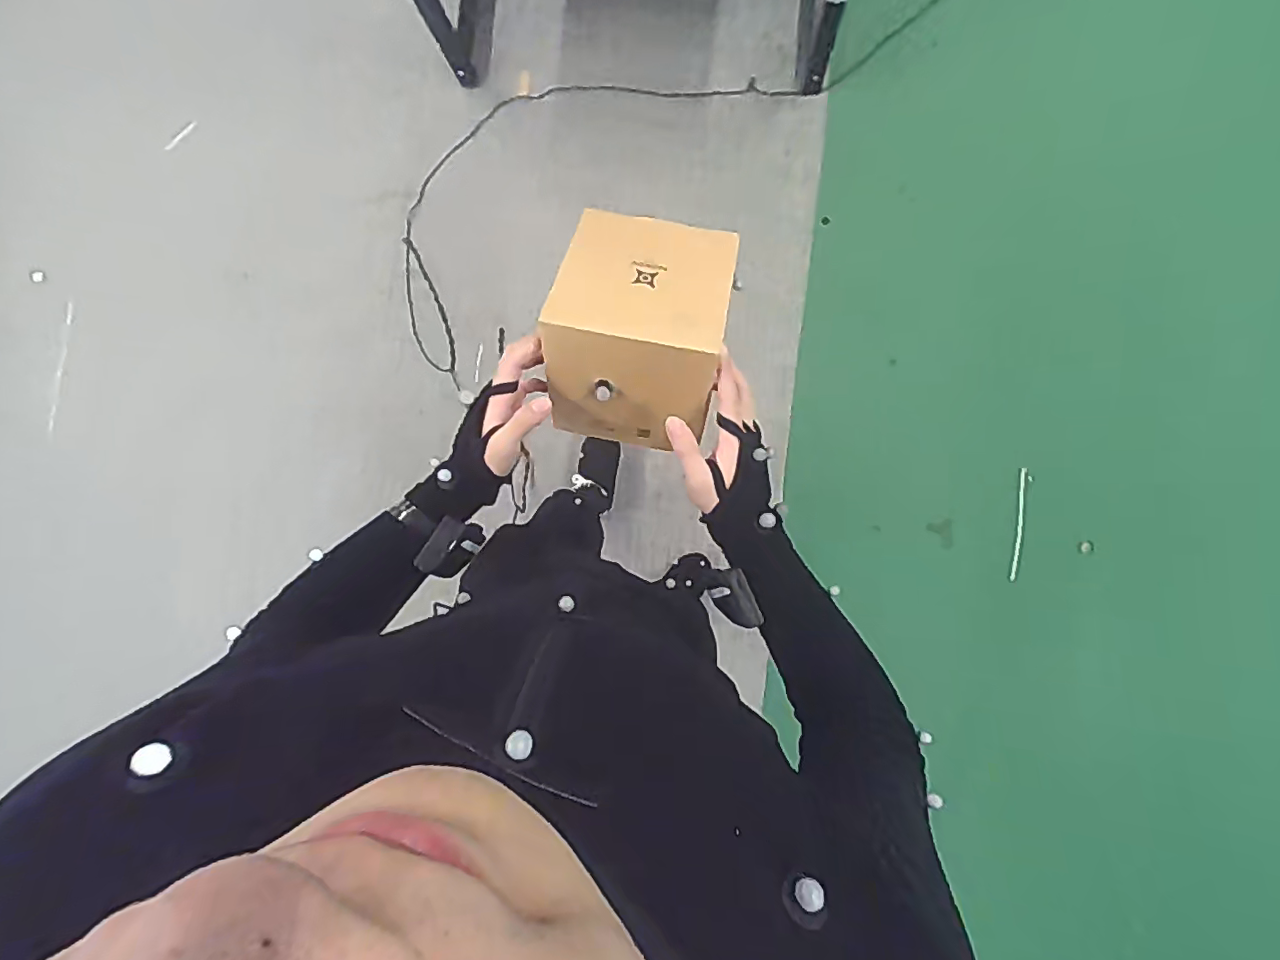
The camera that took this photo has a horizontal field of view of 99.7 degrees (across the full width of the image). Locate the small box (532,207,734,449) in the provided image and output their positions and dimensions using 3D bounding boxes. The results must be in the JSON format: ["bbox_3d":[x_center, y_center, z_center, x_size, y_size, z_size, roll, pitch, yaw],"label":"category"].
[{"bbox_3d":[-0.002,-0.155,0.577,0.168,0.176,0.179,10,58,3],"label":"small box"}]

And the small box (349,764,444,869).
[{"bbox_3d":[-0.668,0.925,1.506,0.168,0.176,0.179,10,86,6],"label":"small box"}]
